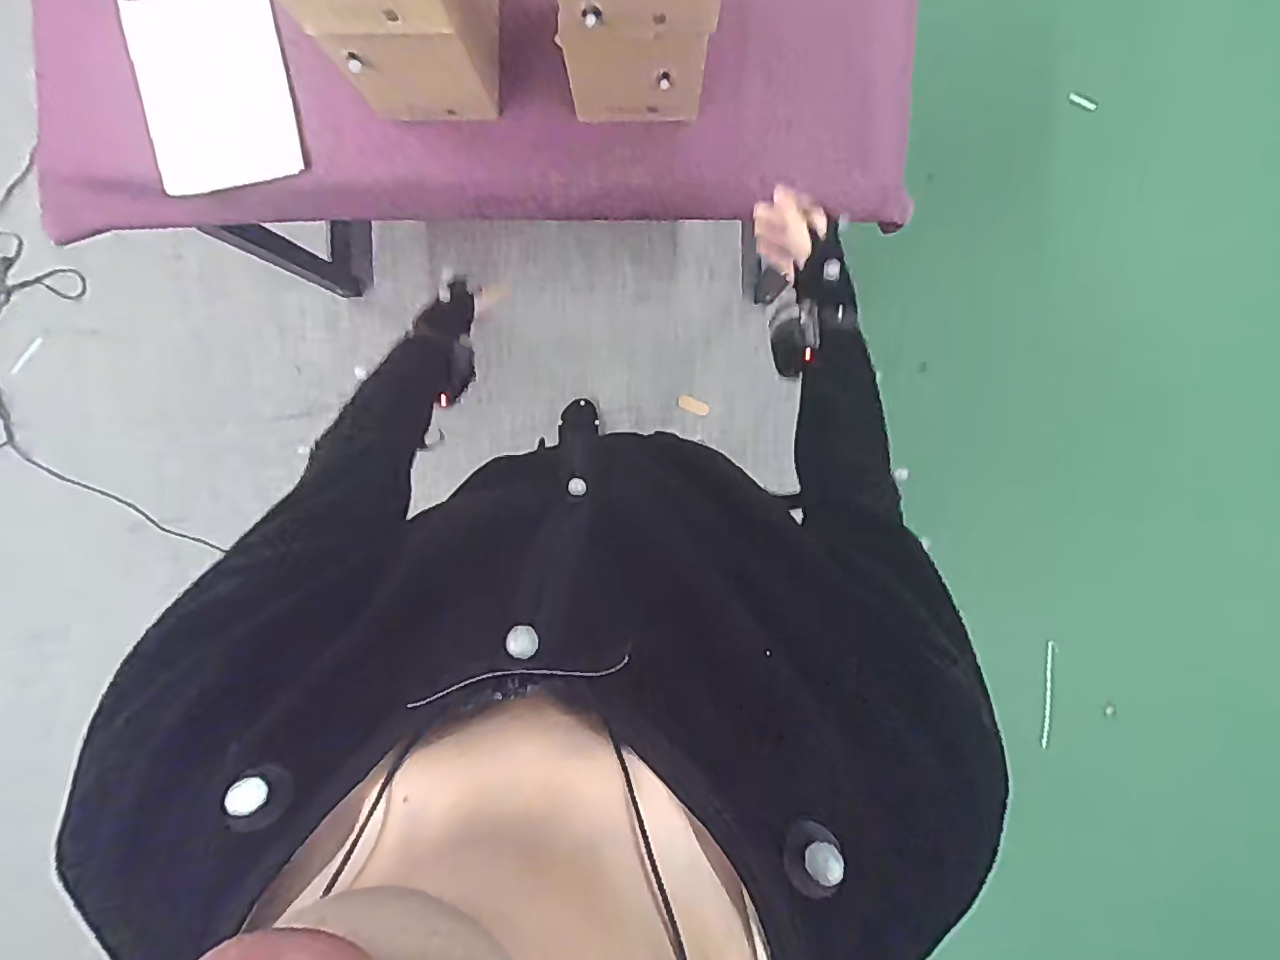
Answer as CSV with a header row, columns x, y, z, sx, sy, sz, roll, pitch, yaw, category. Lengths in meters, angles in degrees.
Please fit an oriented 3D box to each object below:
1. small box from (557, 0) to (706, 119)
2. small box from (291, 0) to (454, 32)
x,y,z,sx,sy,sz,roll,pitch,yaw,category
-0.006,-0.577,0.662,0.168,0.176,0.179,1,93,0,small box
-0.279,-0.564,0.502,0.168,0.176,0.179,1,92,1,small box
